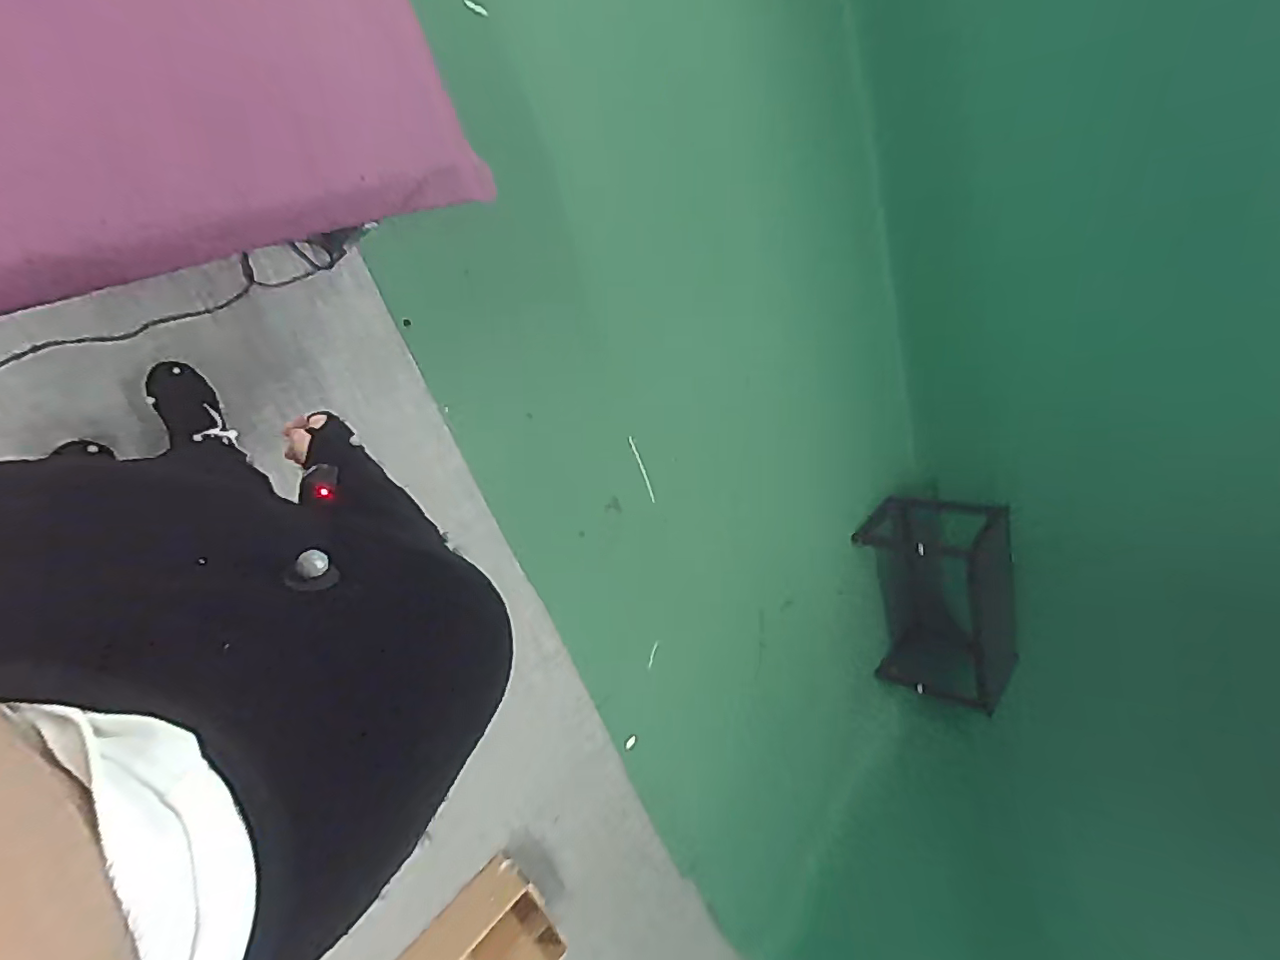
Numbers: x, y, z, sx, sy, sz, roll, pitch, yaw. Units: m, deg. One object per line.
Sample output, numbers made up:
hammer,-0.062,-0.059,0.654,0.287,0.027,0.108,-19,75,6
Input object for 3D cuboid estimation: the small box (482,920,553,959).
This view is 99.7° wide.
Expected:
small box,-0.374,1.563,1.720,0.168,0.176,0.179,-39,120,-33
